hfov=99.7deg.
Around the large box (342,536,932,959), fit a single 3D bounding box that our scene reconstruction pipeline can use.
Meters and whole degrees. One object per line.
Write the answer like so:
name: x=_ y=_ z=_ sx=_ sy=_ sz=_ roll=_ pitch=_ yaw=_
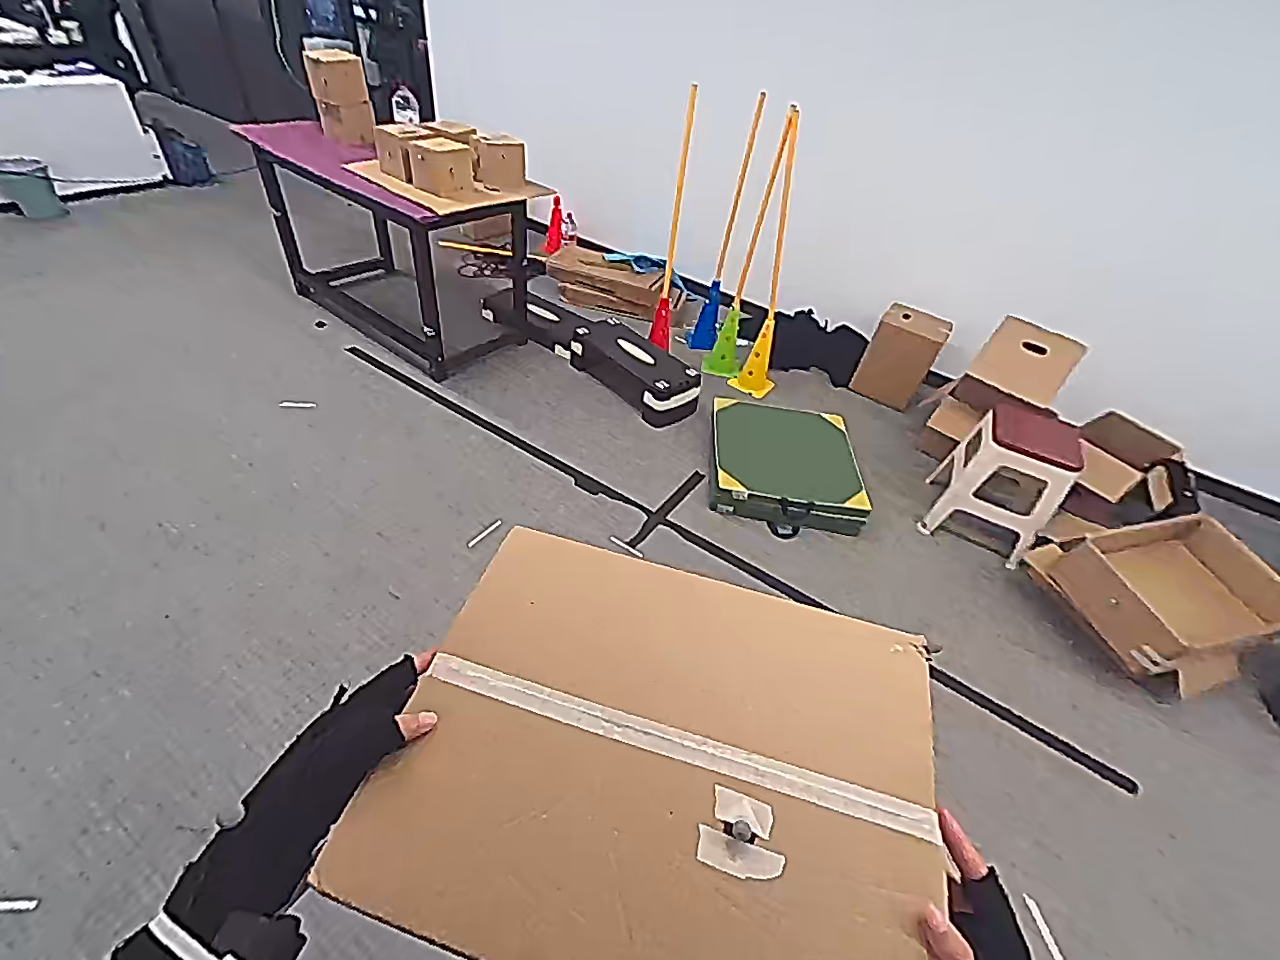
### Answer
large box: x=0.016 y=0.309 z=0.545 sx=0.408 sy=0.320 sz=0.320 roll=15 pitch=49 yaw=10
